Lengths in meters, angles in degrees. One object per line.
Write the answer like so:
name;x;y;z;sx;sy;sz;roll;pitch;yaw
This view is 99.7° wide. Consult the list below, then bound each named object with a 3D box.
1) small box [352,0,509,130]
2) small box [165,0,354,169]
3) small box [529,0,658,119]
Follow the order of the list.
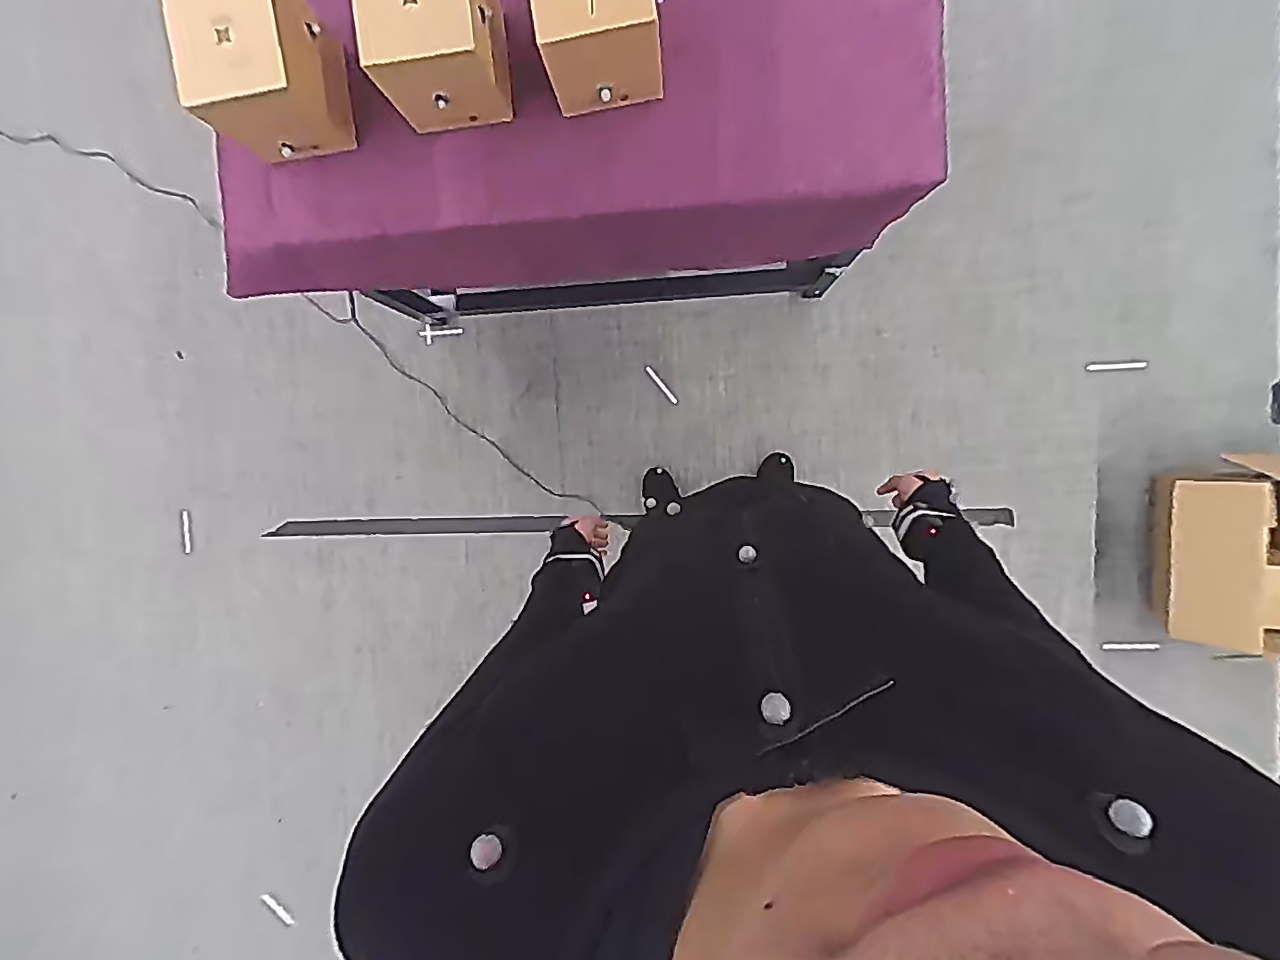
small box;-0.306;-0.661;0.816;0.168;0.176;0.179;-4;93;5
small box;-0.577;-0.625;0.841;0.168;0.176;0.179;-7;93;5
small box;-0.066;-0.680;0.796;0.168;0.176;0.179;-8;93;5
